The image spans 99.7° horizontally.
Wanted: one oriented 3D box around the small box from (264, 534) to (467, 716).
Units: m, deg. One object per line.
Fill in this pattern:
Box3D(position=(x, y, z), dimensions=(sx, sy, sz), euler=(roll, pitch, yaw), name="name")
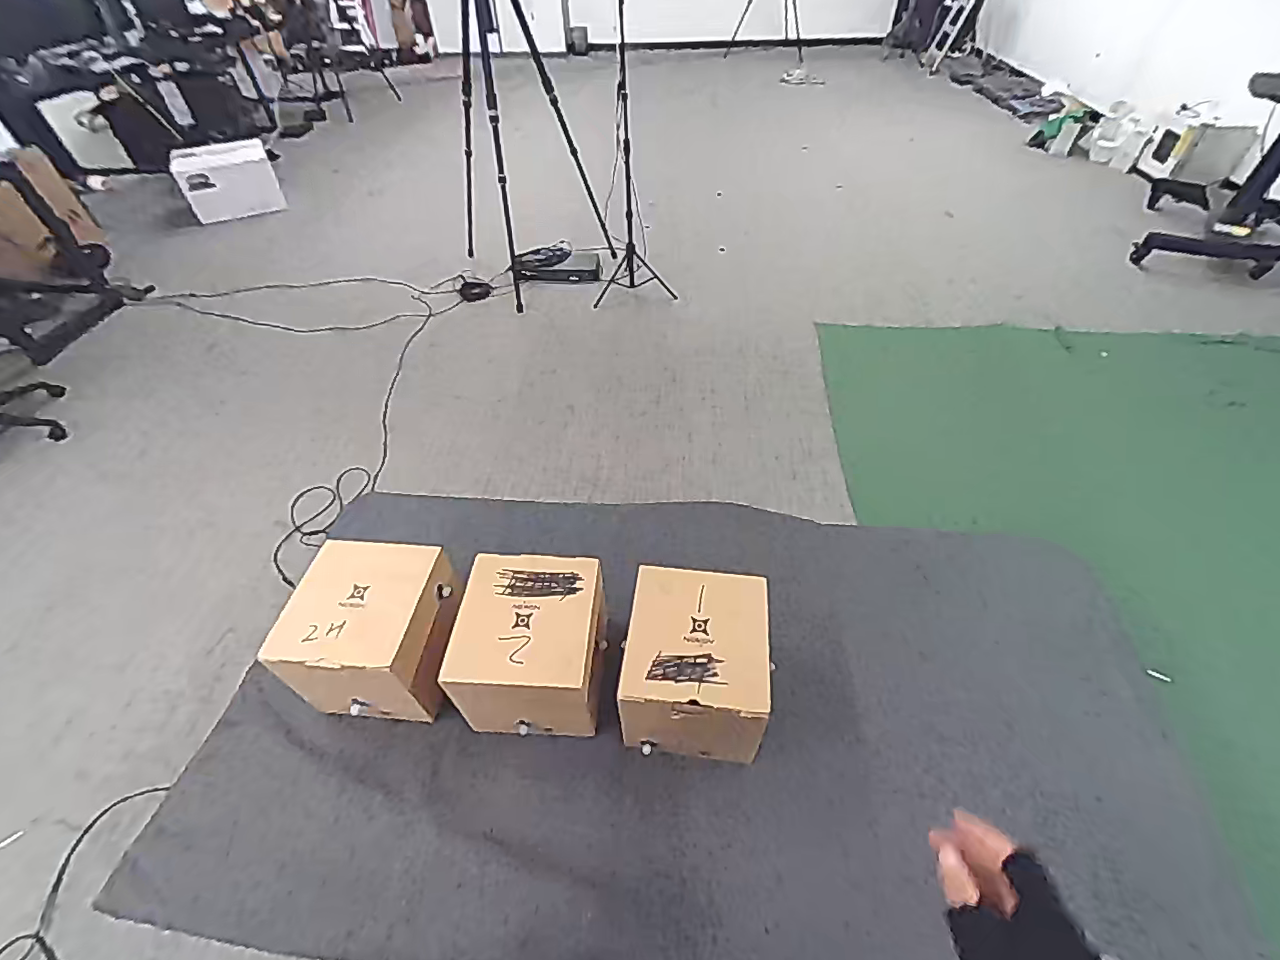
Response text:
Box3D(position=(-0.352, 0.197, 0.739), dimensions=(0.168, 0.176, 0.179), euler=(3, 47, 5), name="small box")
